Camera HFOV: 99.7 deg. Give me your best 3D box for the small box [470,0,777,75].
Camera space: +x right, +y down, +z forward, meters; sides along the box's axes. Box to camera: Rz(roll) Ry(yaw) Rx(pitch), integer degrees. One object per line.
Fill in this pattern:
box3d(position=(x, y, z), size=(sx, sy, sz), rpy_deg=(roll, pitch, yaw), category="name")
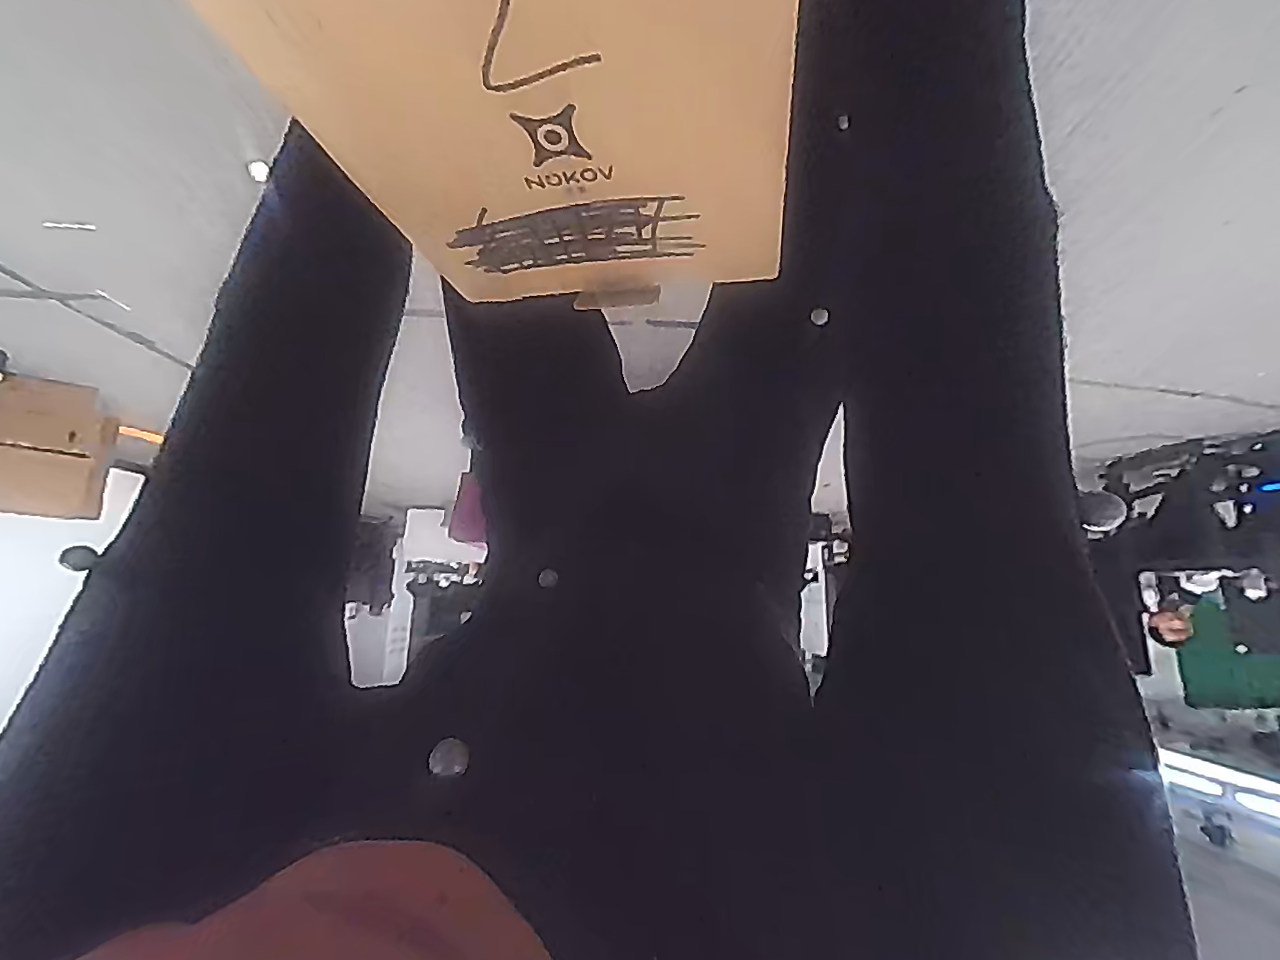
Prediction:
box3d(position=(-0.021, -0.352, 0.255), size=(0.168, 0.176, 0.179), rpy_deg=(-2, 167, 14), category="small box")
